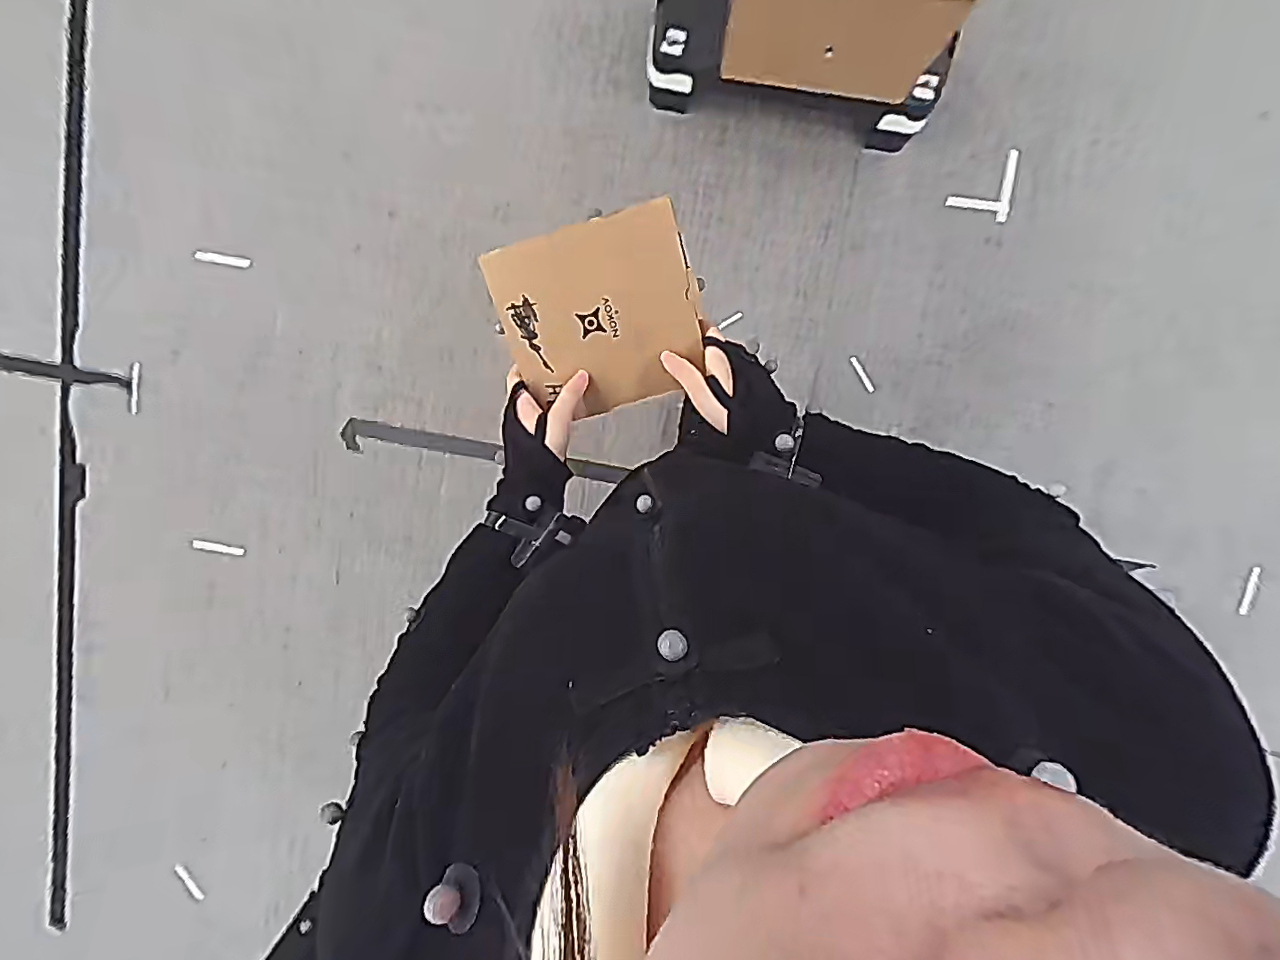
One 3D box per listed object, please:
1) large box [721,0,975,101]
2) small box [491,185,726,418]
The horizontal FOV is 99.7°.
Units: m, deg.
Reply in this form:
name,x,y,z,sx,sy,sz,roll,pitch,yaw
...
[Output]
name,x,y,z,sx,sy,sz,roll,pitch,yaw
large box,0.388,-0.982,1.025,0.408,0.320,0.320,8,96,2
small box,-0.024,-0.181,0.549,0.179,0.176,0.168,-14,111,6
